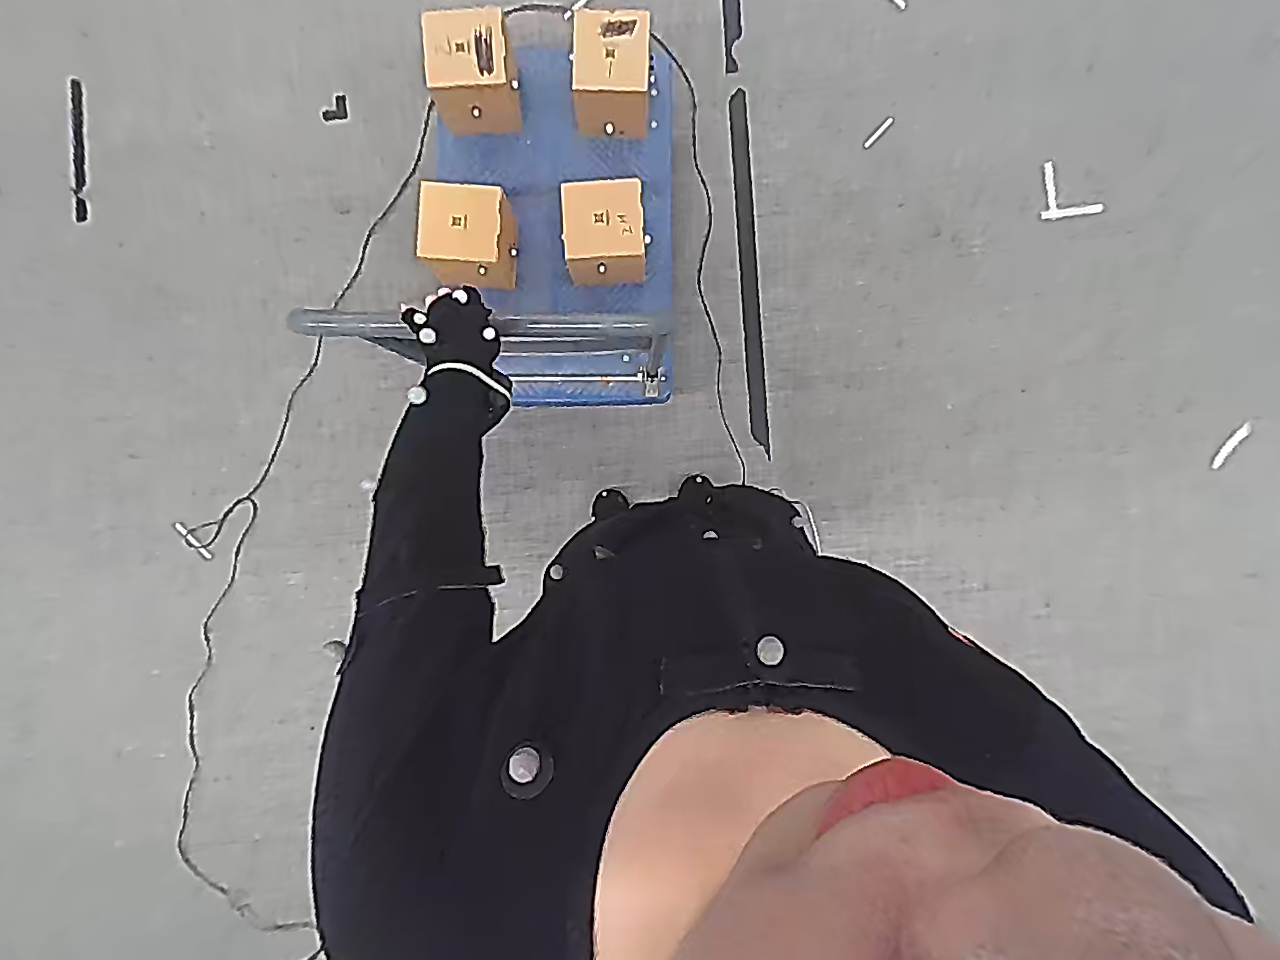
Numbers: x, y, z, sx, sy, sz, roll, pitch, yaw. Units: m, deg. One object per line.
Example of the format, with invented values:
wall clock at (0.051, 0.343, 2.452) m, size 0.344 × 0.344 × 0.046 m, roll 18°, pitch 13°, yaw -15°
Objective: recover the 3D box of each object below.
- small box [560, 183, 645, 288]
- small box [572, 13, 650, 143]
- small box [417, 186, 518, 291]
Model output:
small box at (-0.080, -0.554, 1.244) m, size 0.179 × 0.176 × 0.168 m, roll -3°, pitch 90°, yaw 0°
small box at (-0.065, -0.919, 1.247) m, size 0.168 × 0.176 × 0.179 m, roll 2°, pitch 91°, yaw 0°
small box at (-0.389, -0.546, 1.243) m, size 0.179 × 0.176 × 0.168 m, roll 3°, pitch 89°, yaw -2°
